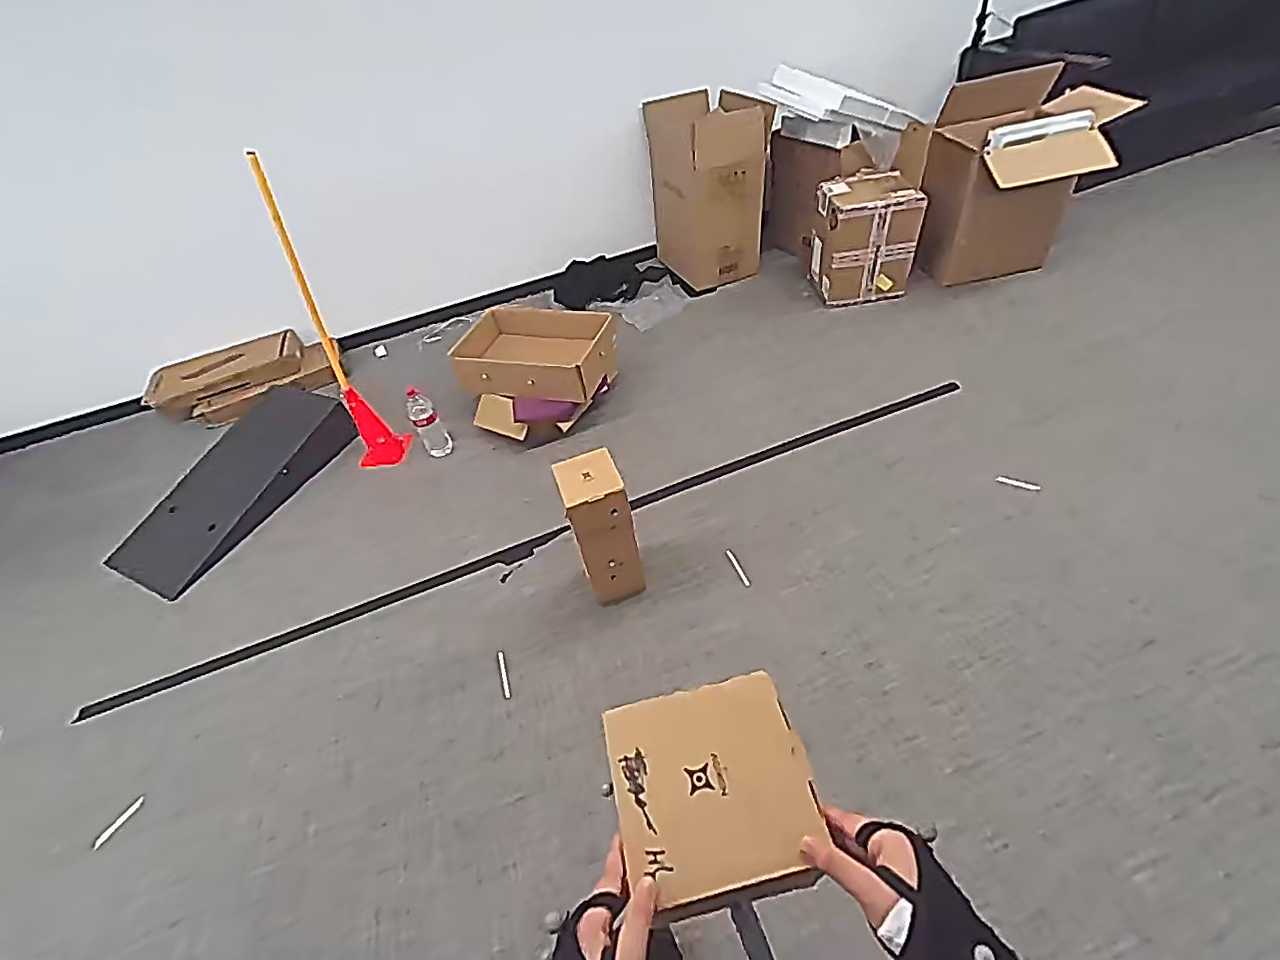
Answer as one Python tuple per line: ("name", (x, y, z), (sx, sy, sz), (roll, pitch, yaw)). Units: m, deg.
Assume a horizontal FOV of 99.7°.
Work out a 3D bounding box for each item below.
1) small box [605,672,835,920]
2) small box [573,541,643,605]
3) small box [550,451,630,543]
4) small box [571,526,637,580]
("small box", (0.070, 0.323, 0.552), (0.179, 0.176, 0.168), (-12, 47, -4))
("small box", (-0.101, 0.277, 1.750), (0.179, 0.176, 0.168), (-19, 47, -9))
("small box", (-0.136, 0.054, 1.514), (0.168, 0.176, 0.179), (-19, 46, -10))
("small box", (-0.117, 0.167, 1.629), (0.168, 0.176, 0.179), (-19, 47, -8))
